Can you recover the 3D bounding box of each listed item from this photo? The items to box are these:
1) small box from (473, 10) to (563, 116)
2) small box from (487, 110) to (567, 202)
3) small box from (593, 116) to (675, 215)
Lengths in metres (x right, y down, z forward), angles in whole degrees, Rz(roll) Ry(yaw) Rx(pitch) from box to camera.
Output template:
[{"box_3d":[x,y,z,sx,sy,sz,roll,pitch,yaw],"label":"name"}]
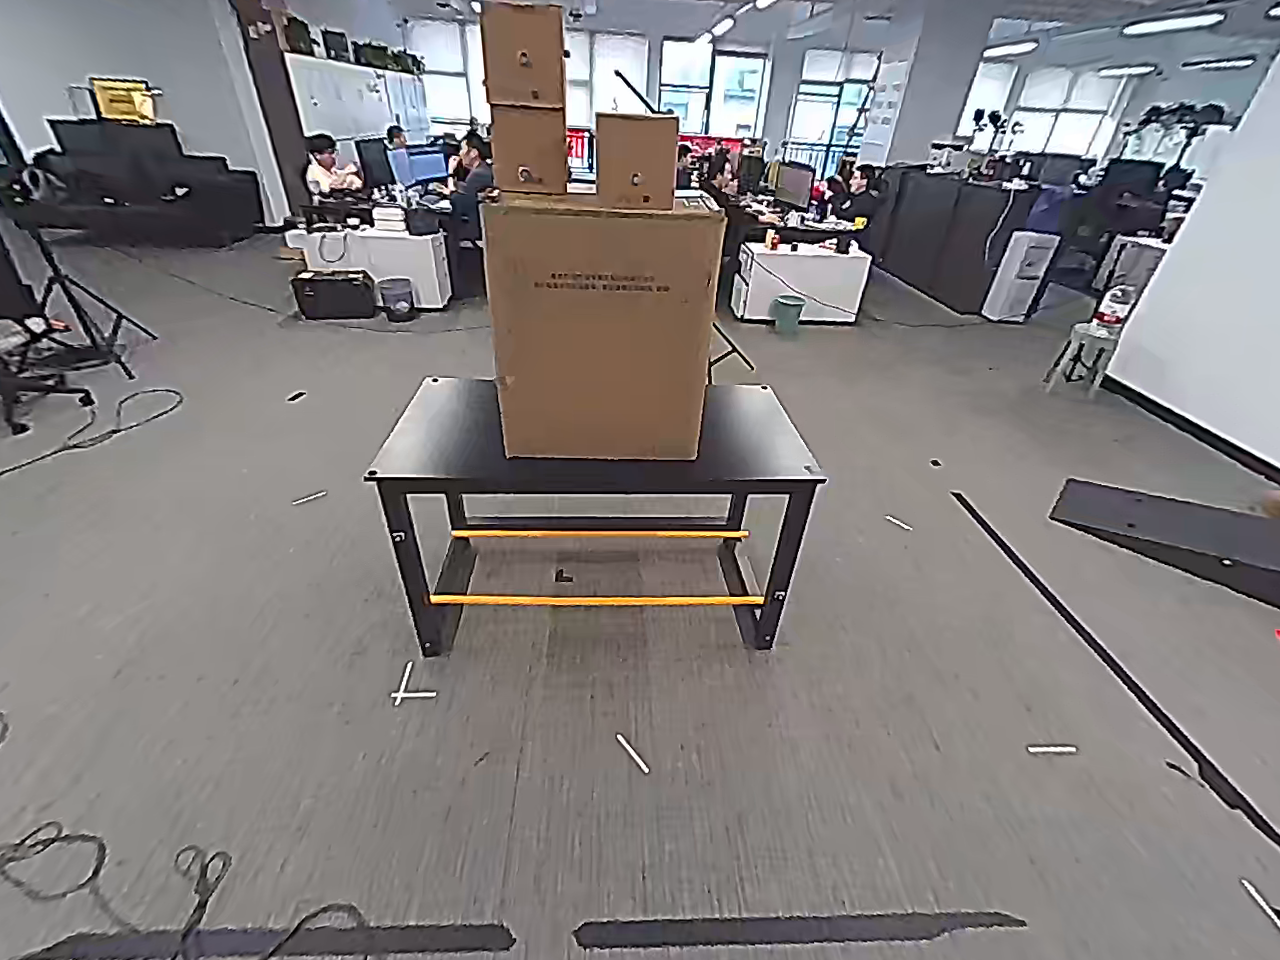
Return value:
[{"box_3d":[-0.253,-0.889,1.166,0.168,0.176,0.179,-1,34,-6],"label":"small box"},{"box_3d":[-0.259,-0.762,1.270,0.168,0.176,0.179,-2,35,-7],"label":"small box"},{"box_3d":[-0.020,-0.687,1.179,0.168,0.176,0.179,-2,35,-5],"label":"small box"}]
